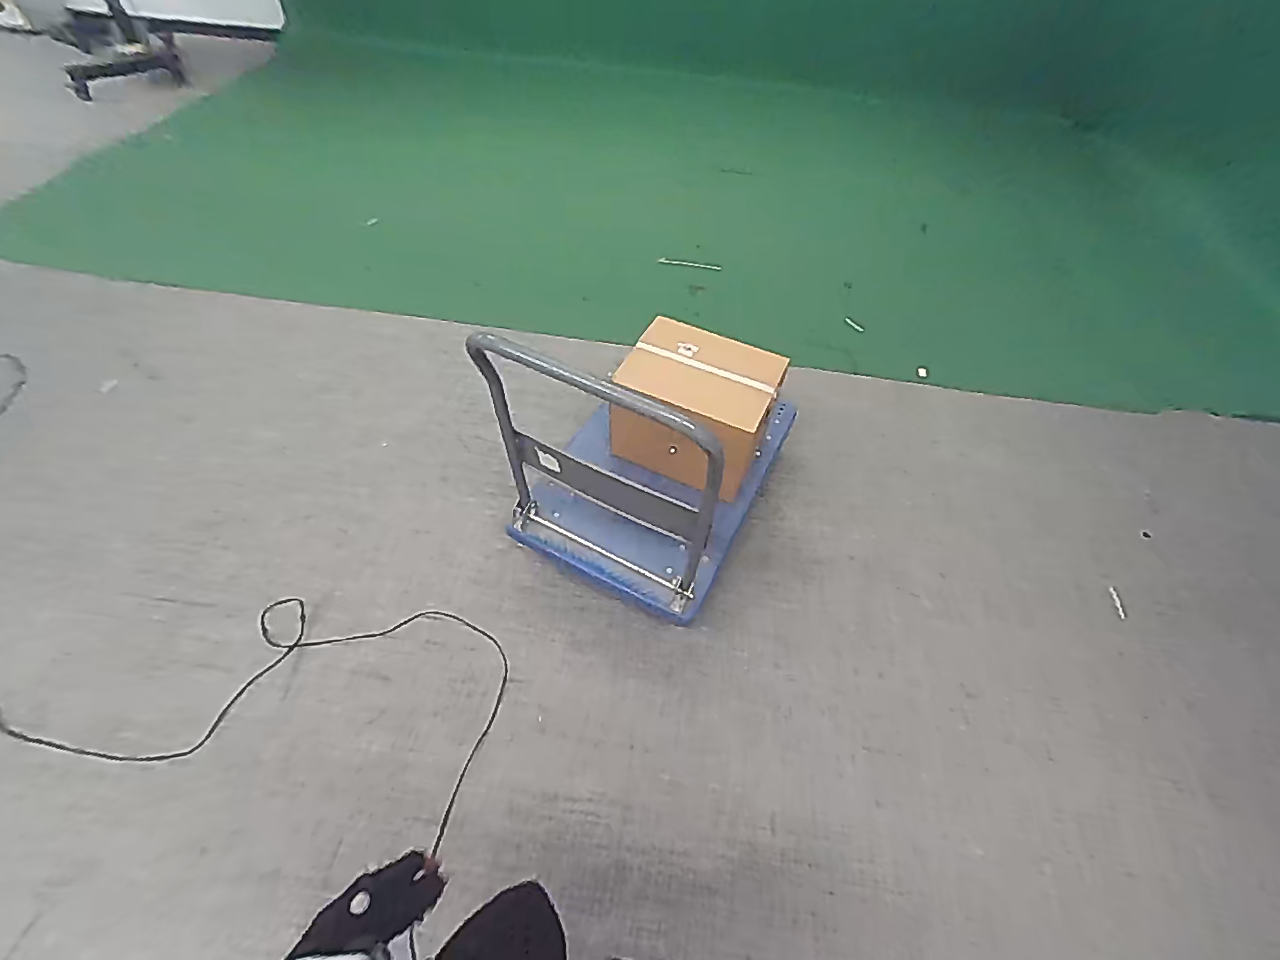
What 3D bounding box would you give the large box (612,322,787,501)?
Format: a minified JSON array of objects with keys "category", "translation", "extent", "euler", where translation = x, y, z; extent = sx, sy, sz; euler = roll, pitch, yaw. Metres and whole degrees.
[{"category":"large box","translation":[0.166,-0.198,1.581],"extent":[0.408,0.320,0.320],"euler":[22,54,14]}]
